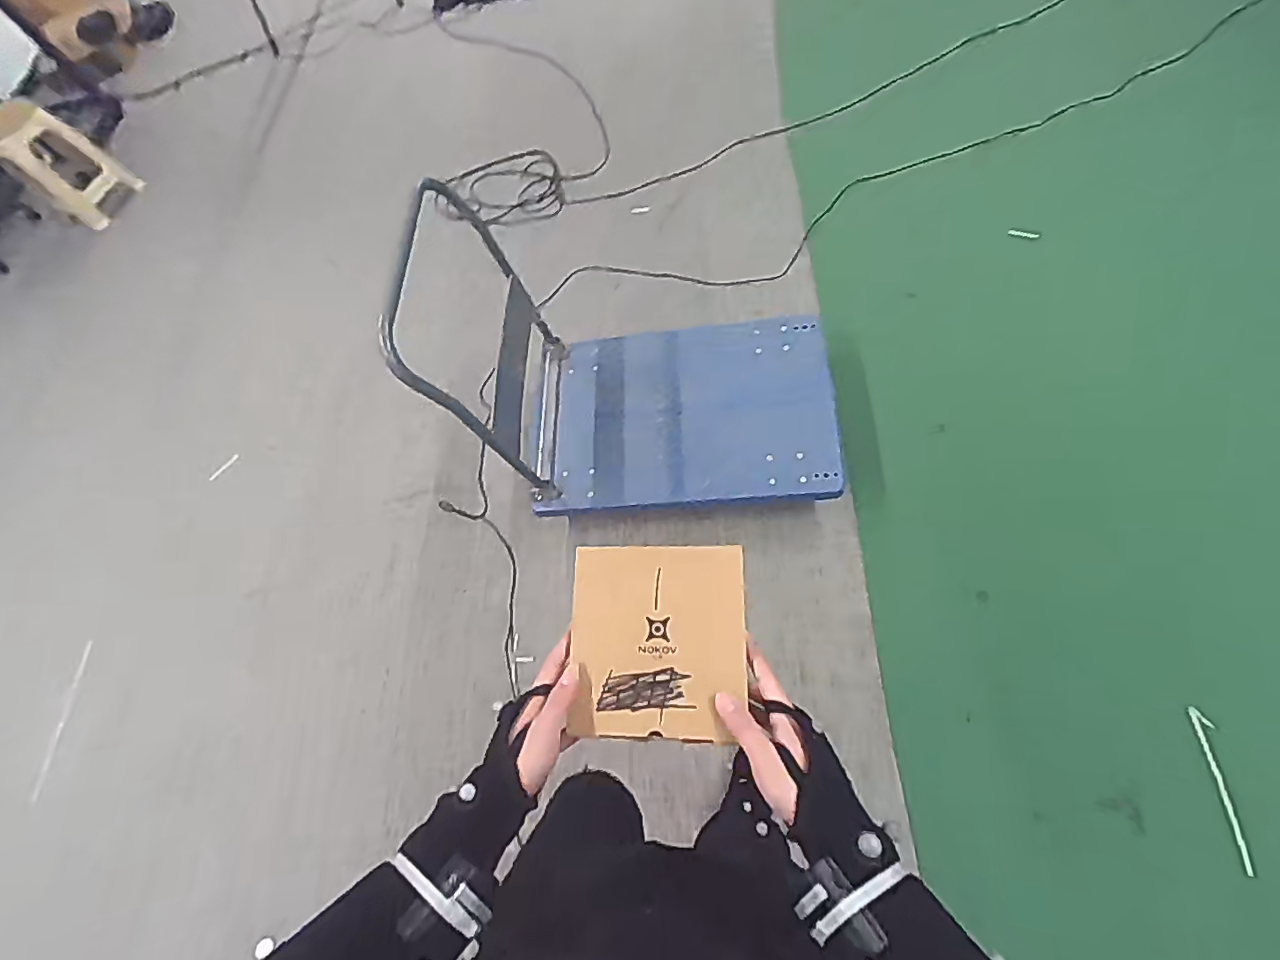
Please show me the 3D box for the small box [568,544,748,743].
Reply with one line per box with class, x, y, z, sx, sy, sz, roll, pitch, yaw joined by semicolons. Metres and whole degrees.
small box;0.028;0.170;0.578;0.168;0.176;0.179;-2;72;8
